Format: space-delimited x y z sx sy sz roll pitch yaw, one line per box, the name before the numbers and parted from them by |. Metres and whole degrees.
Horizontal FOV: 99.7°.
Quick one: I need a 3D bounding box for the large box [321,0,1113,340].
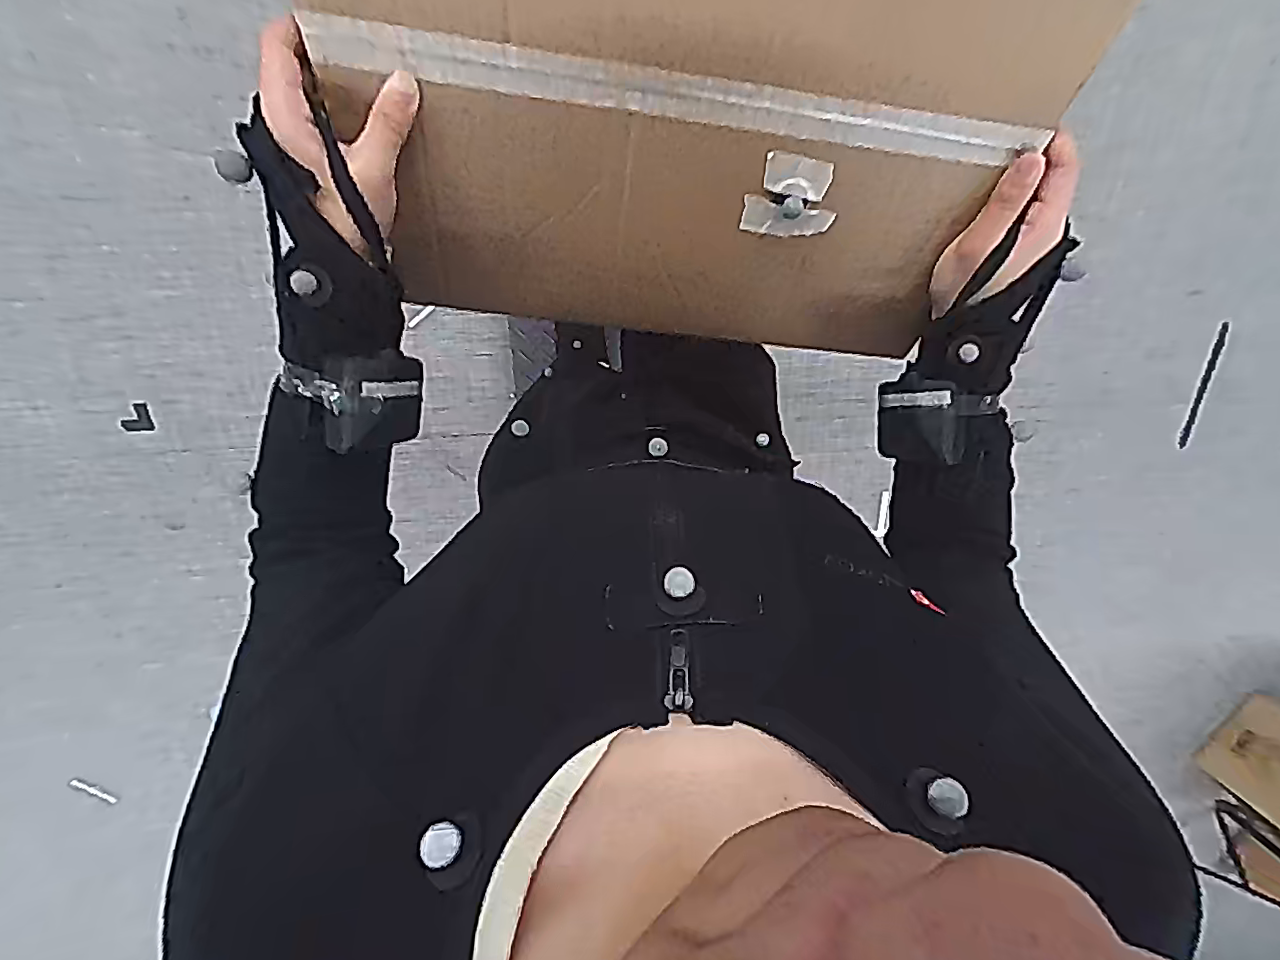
large box | 0.029 -0.334 0.394 0.408 0.320 0.320 3 143 -7
